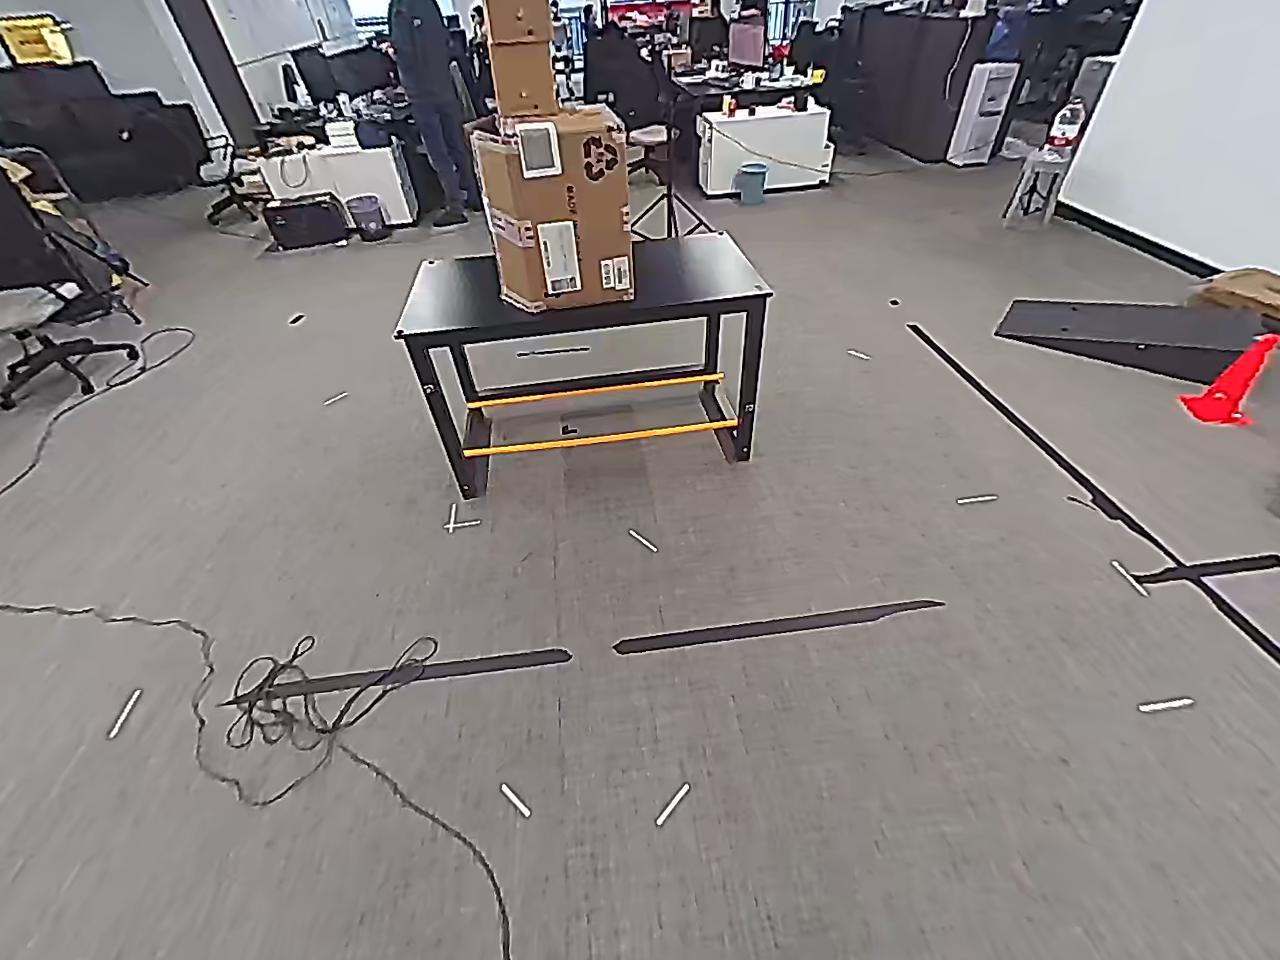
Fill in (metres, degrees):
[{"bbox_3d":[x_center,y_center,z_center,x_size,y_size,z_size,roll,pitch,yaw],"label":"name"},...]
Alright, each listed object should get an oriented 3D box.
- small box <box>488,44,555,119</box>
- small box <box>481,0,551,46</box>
[{"bbox_3d":[-0.346,-1.167,1.582,0.168,0.176,0.179,-10,42,-9],"label":"small box"},{"bbox_3d":[-0.342,-1.289,1.469,0.168,0.176,0.179,-12,41,-10],"label":"small box"}]
